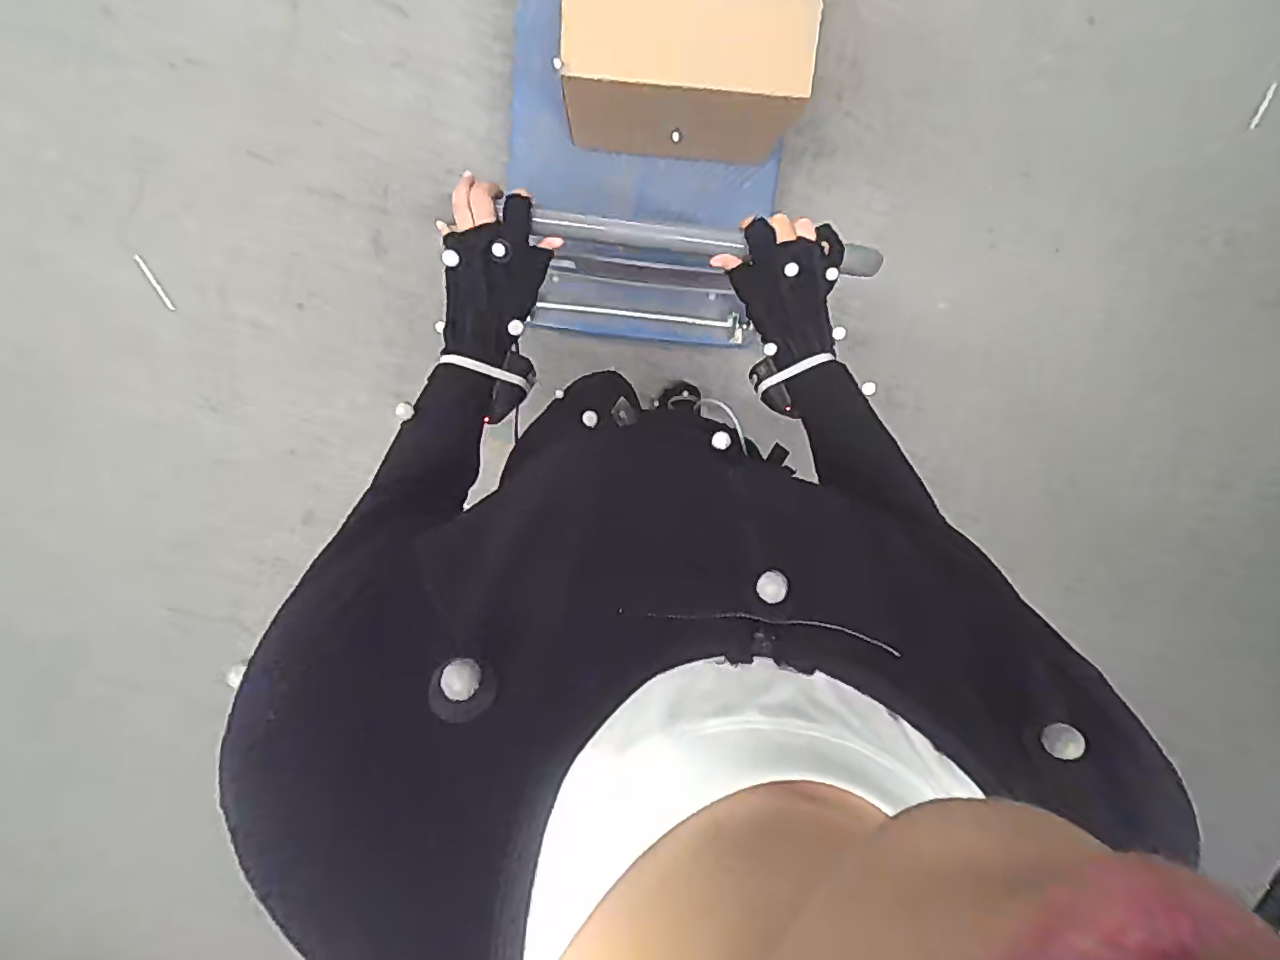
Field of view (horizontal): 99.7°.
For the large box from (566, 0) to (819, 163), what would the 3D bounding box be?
[{"bbox_3d":[0.082,-0.803,0.985,0.408,0.320,0.320,2,102,-3],"label":"large box"}]
